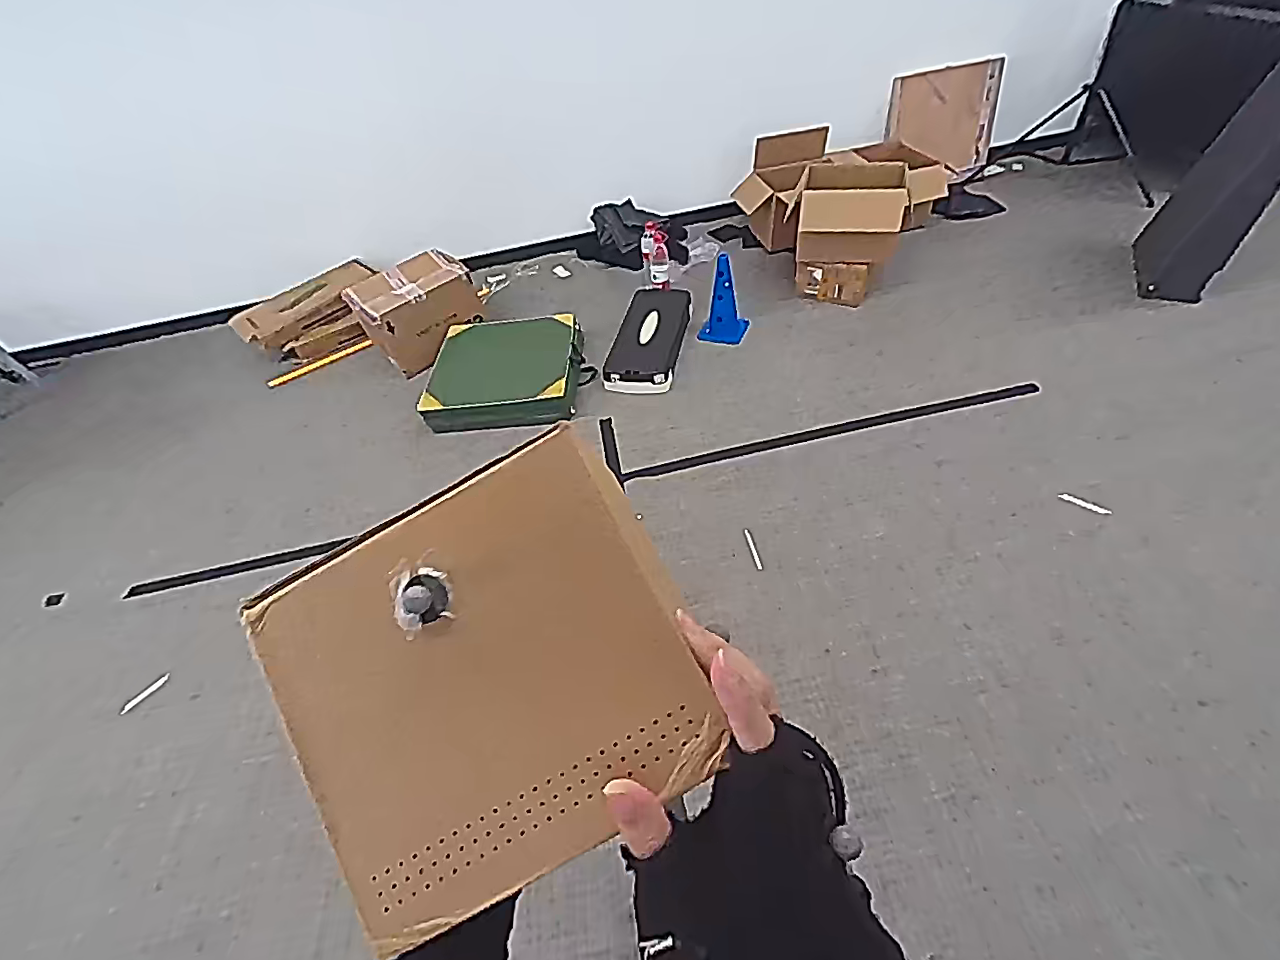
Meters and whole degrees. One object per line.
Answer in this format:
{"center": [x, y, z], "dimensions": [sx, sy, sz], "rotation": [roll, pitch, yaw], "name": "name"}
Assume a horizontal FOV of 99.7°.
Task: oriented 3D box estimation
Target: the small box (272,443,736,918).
{"center": [-0.062, 0.104, 0.328], "dimensions": [0.179, 0.168, 0.176], "rotation": [-30, 81, 2], "name": "small box"}
